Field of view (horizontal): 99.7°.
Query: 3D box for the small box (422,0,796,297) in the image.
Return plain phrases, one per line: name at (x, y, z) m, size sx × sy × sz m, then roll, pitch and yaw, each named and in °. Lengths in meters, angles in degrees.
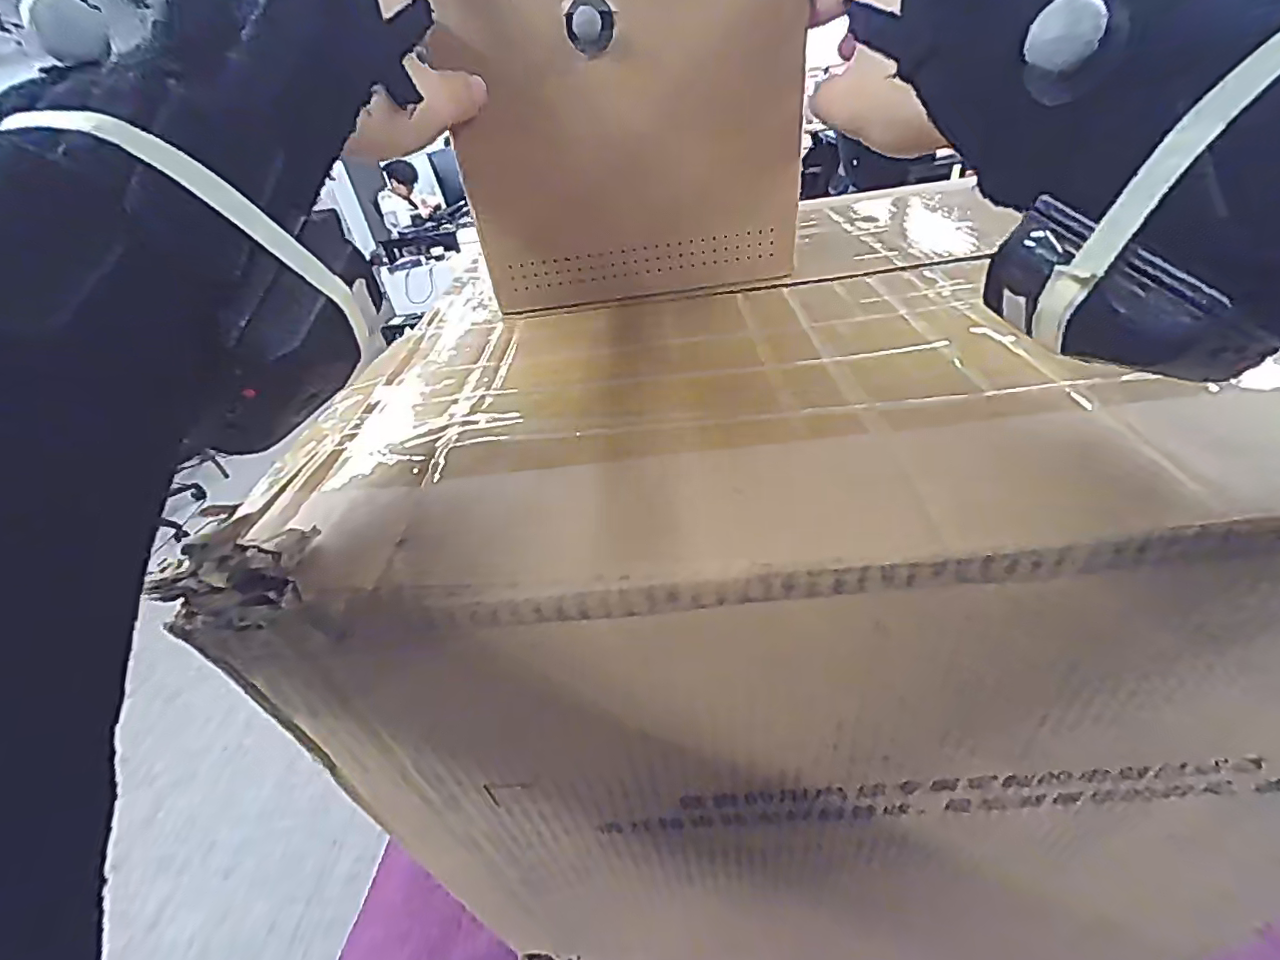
small box at (-0.009, -0.221, 0.327) m, size 0.179 × 0.176 × 0.168 m, roll -6°, pitch 37°, yaw 2°
